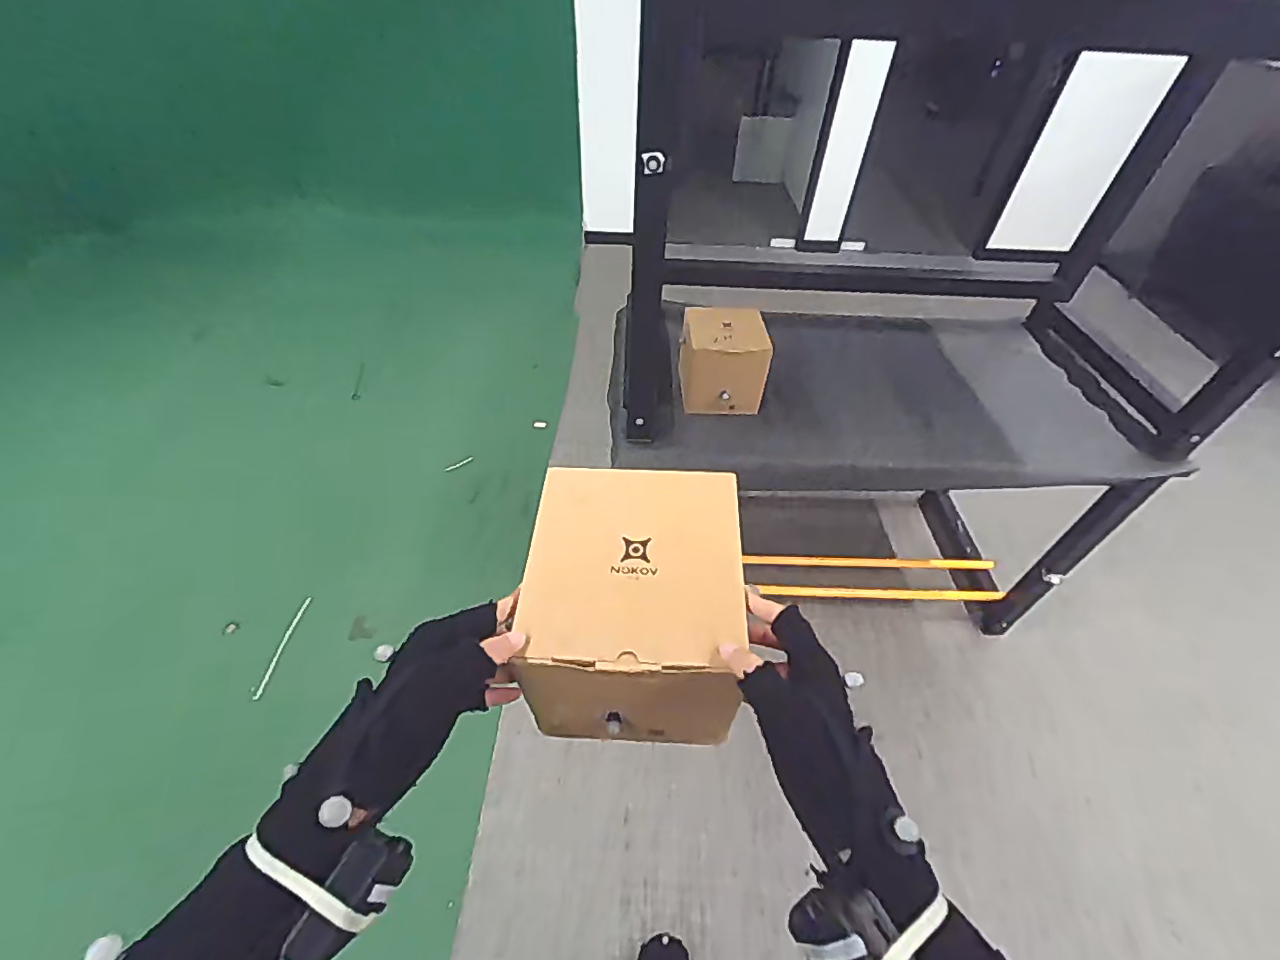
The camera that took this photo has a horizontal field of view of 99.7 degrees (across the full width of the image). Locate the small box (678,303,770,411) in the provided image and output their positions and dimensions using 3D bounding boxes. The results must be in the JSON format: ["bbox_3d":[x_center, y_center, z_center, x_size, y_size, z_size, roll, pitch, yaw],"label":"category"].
[{"bbox_3d":[0.176,-0.273,1.199,0.168,0.176,0.179,0,46,-2],"label":"small box"}]
